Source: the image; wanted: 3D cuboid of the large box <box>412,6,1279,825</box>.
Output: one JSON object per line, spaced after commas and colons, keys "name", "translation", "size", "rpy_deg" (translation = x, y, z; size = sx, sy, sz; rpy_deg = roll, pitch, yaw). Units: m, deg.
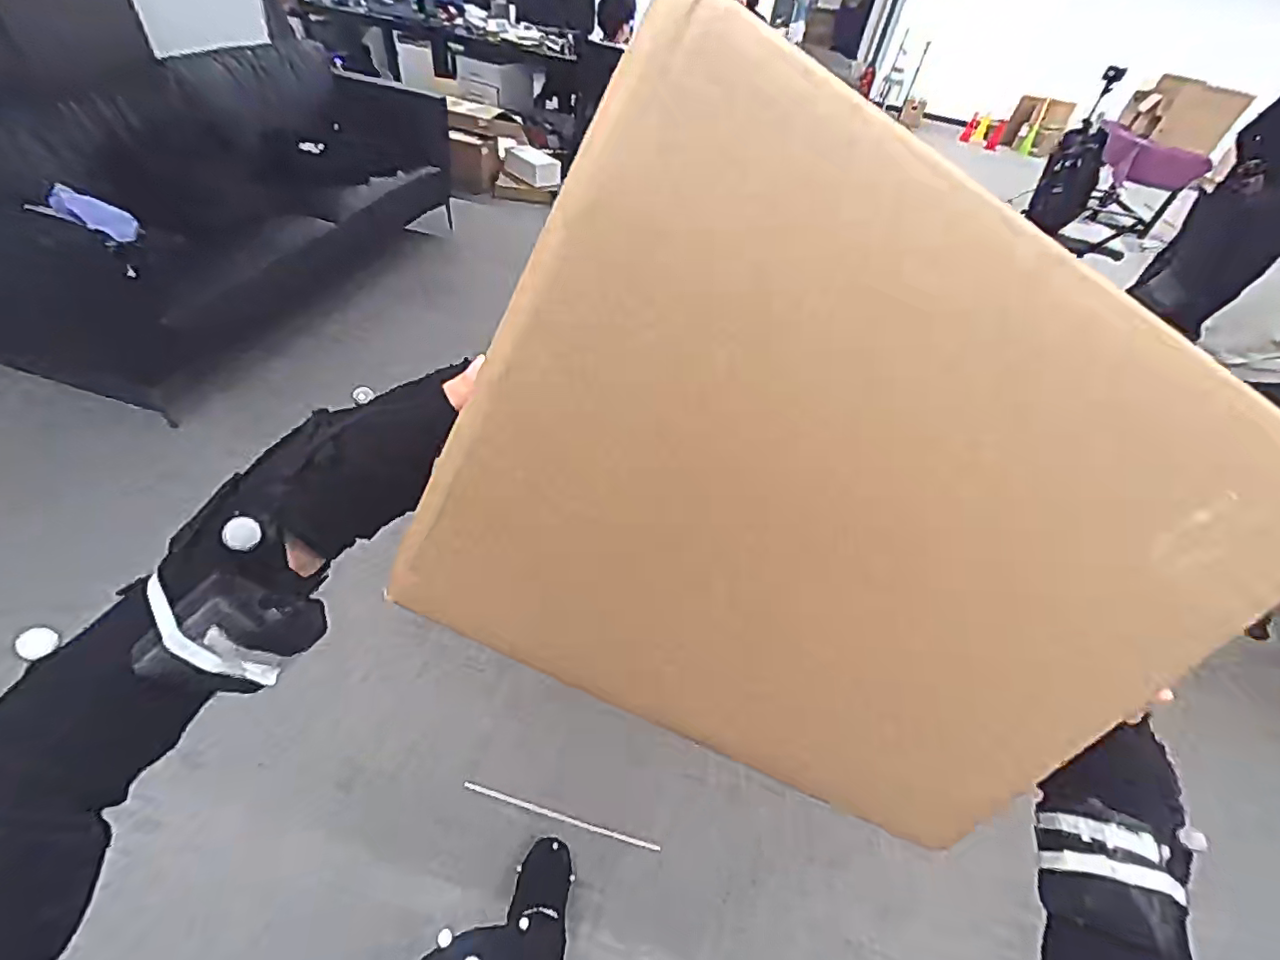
{"name": "large box", "translation": [0.113, -0.024, 0.426], "size": [0.408, 0.320, 0.320], "rpy_deg": [30, 22, -10]}
